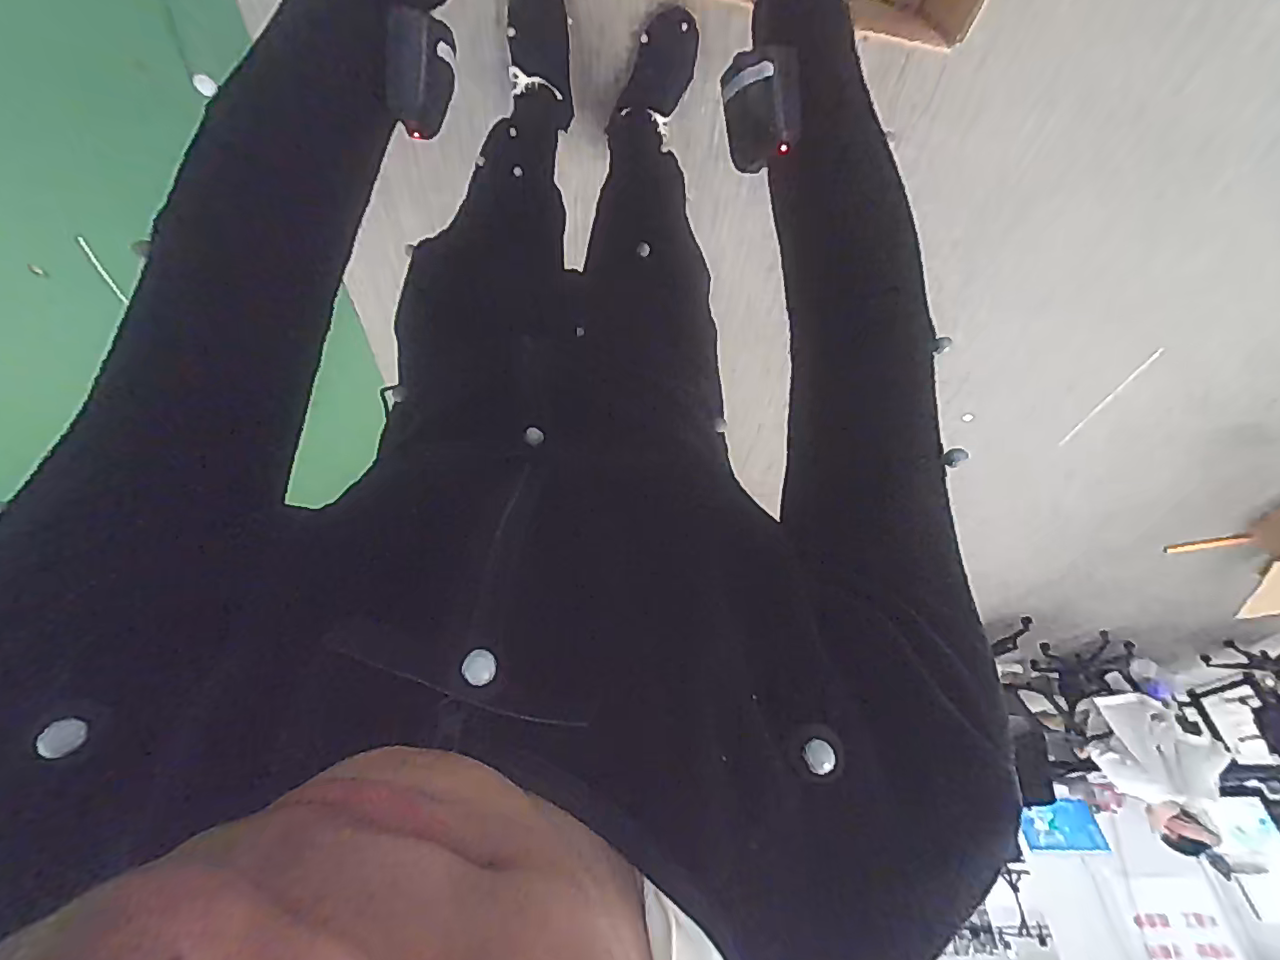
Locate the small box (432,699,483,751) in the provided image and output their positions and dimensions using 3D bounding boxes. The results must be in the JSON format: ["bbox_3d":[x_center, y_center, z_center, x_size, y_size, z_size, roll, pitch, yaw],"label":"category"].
[{"bbox_3d":[-0.770,1.046,2.305,0.168,0.176,0.179,3,143,-6],"label":"small box"}]
